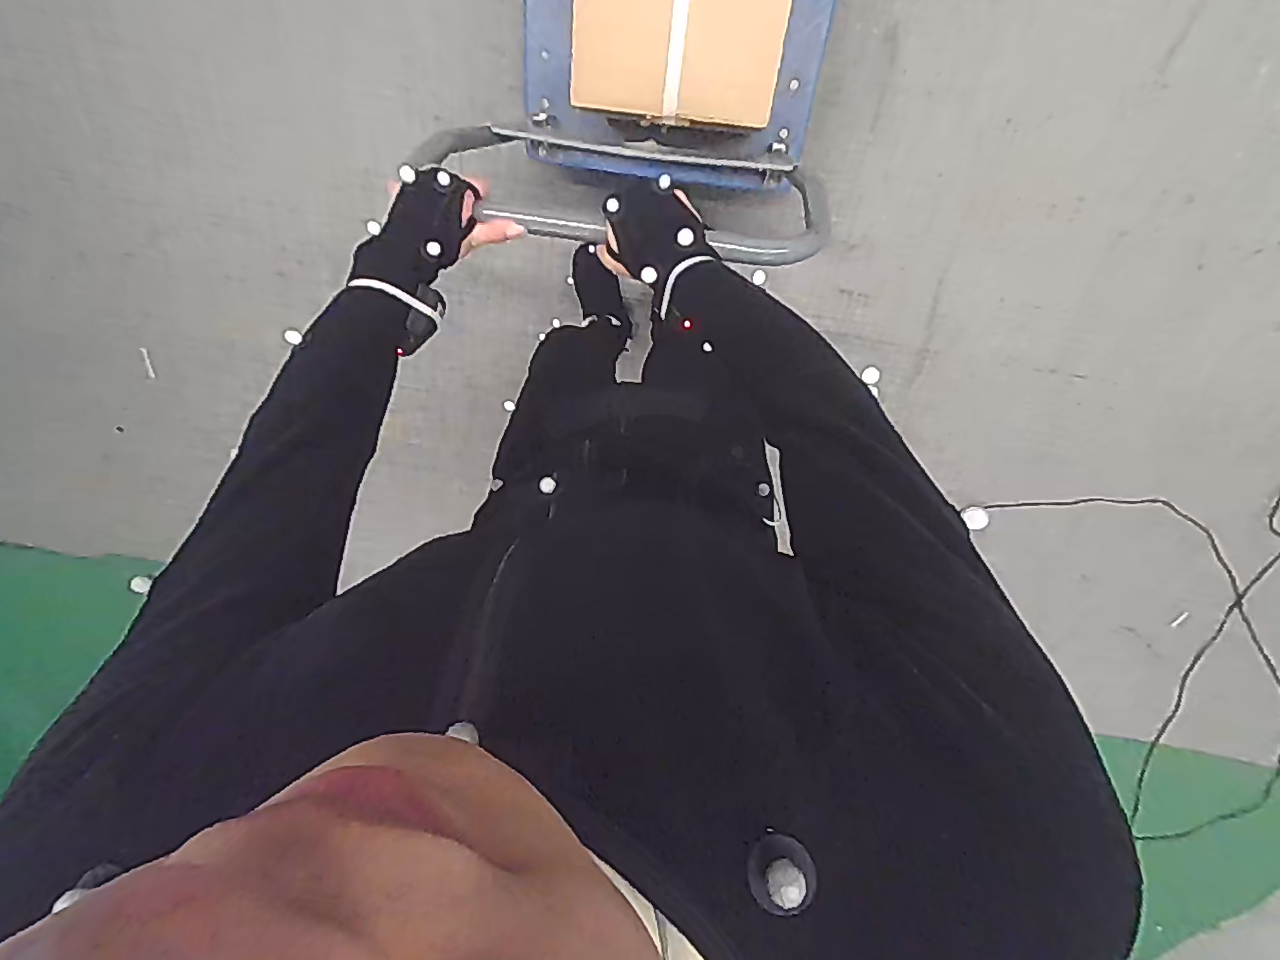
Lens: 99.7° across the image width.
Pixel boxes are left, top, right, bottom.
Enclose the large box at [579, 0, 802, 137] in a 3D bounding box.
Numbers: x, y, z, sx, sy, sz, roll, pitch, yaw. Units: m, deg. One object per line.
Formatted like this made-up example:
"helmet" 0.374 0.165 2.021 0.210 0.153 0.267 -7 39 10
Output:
"large box" 0.092 -0.799 0.861 0.320 0.320 0.408 8 121 2
